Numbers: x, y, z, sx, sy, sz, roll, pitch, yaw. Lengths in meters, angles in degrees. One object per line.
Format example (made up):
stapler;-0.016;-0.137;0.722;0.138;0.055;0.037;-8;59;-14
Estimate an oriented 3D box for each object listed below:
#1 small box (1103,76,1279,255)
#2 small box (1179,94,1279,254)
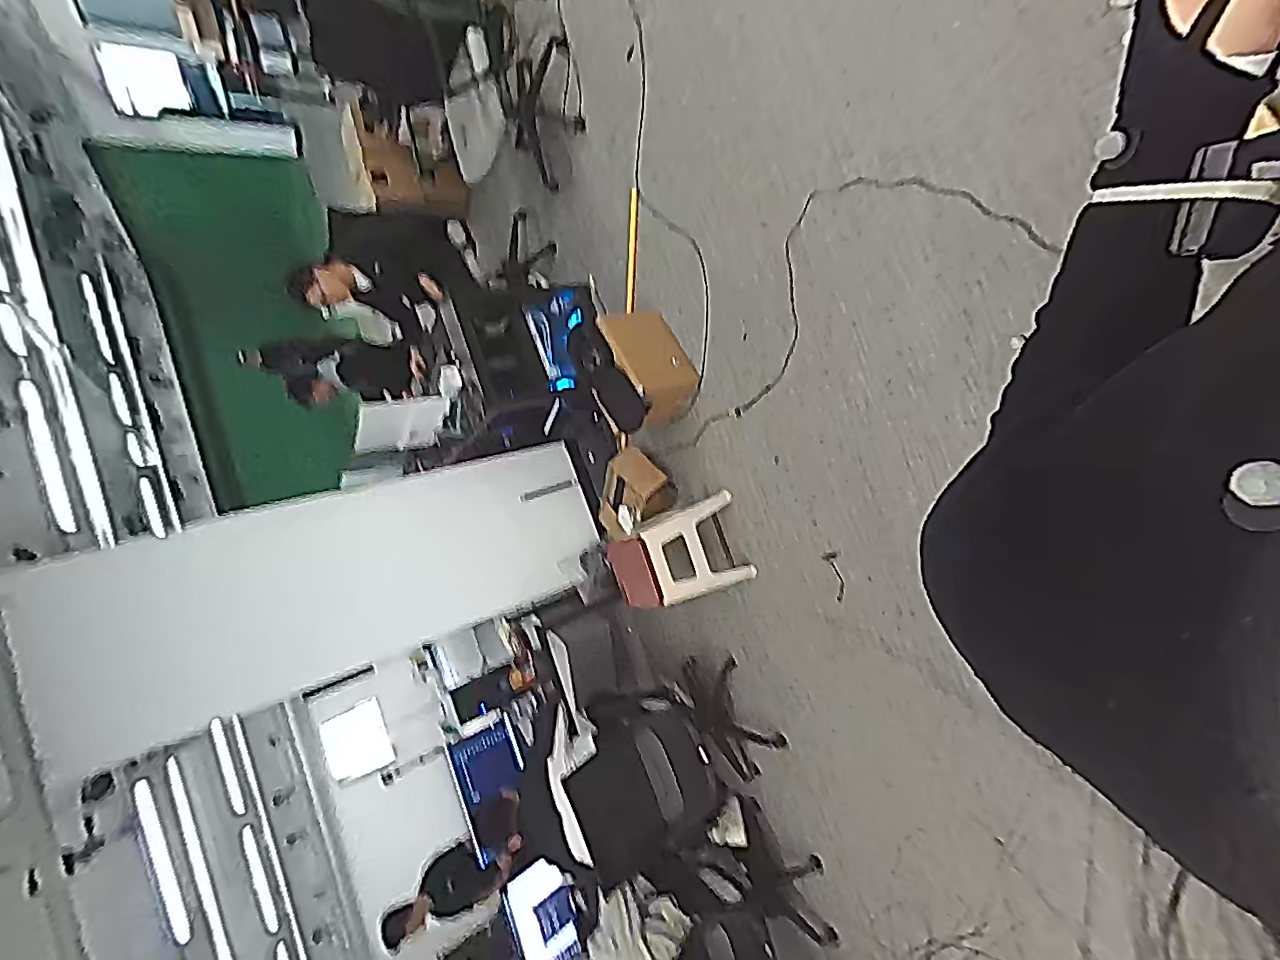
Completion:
small box;0.889;-0.479;0.846;0.168;0.176;0.179;-36;72;55
small box;1.022;-0.513;0.932;0.168;0.176;0.179;-31;79;57
